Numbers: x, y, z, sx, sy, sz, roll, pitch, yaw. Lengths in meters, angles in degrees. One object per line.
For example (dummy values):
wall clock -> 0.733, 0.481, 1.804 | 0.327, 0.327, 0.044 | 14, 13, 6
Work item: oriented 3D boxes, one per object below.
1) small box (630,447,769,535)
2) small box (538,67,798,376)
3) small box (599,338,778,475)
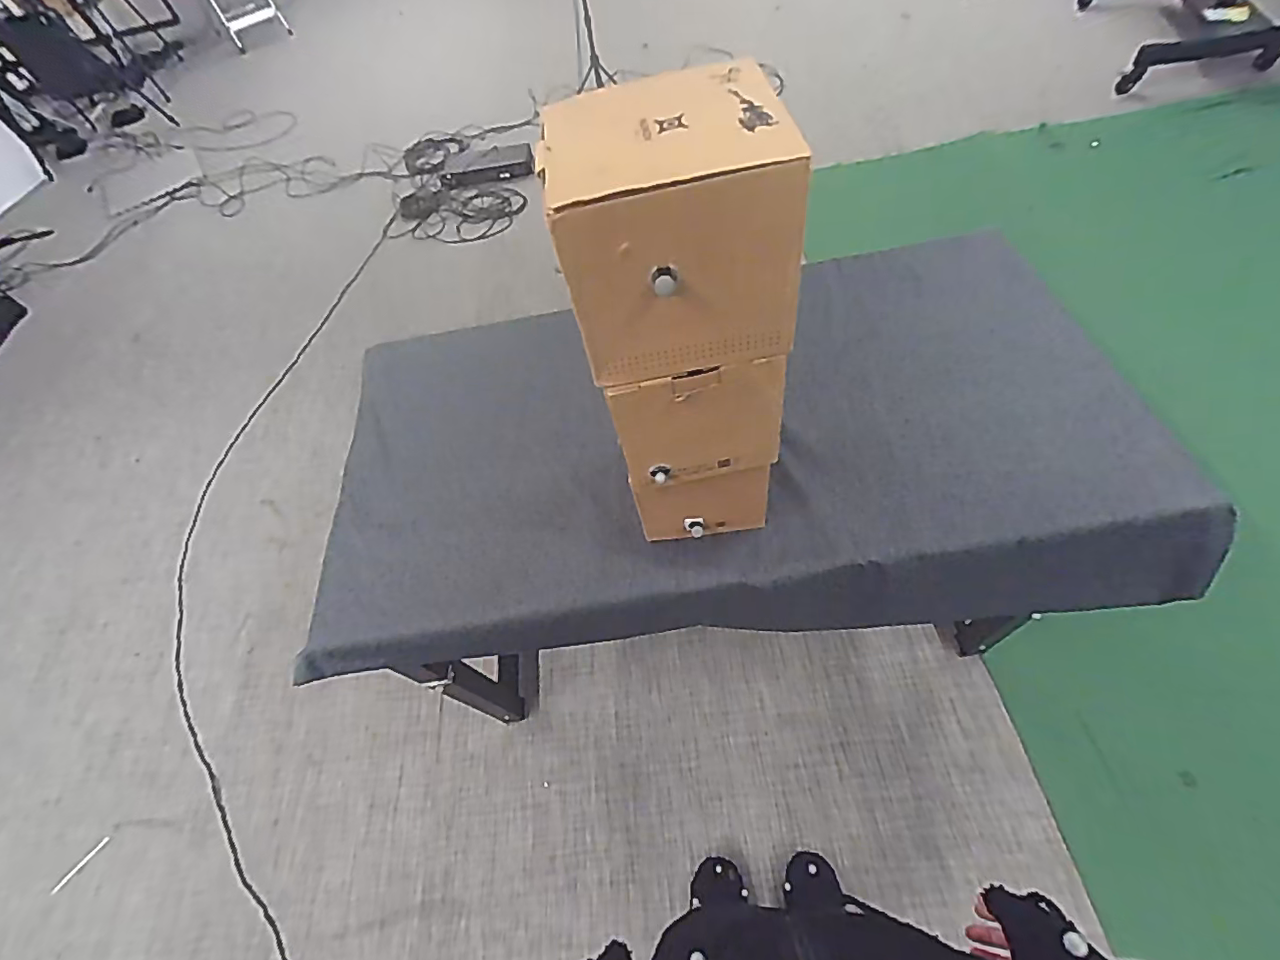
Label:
small box -> 0.074, -0.047, 0.742 | 0.168, 0.176, 0.179 | -10, 58, 5
small box -> 0.023, -0.213, 0.468 | 0.179, 0.176, 0.168 | -13, 54, 2
small box -> 0.046, -0.123, 0.600 | 0.168, 0.176, 0.179 | -15, 57, 2
